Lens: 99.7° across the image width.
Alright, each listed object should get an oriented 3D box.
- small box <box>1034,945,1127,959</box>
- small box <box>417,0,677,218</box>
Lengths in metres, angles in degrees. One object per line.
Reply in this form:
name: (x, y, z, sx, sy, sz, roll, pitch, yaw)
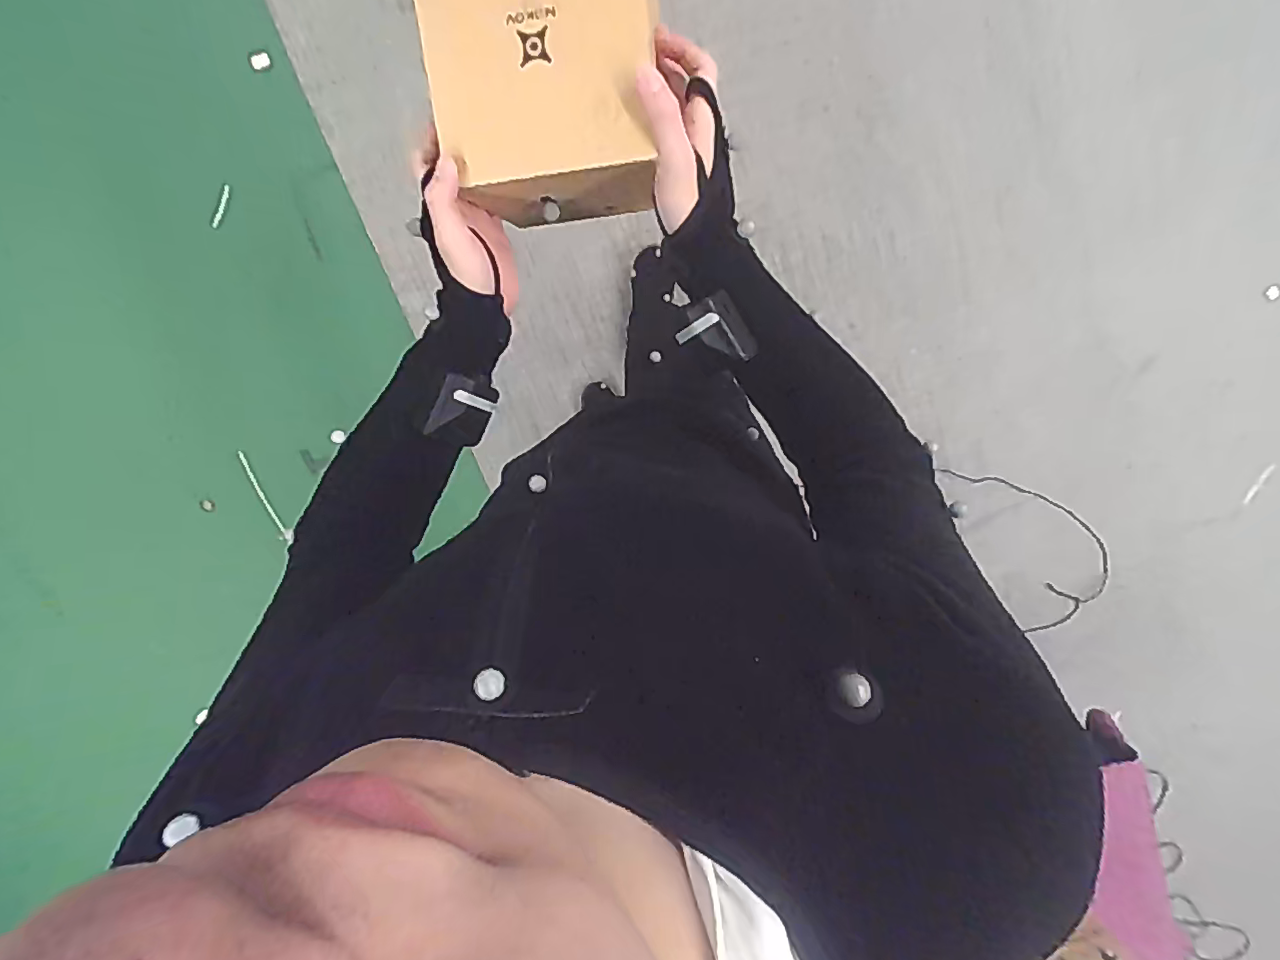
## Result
small box: (0.757, 0.897, 0.868, 0.168, 0.176, 0.179, -21, 105, 4)
small box: (-0.061, -0.327, 0.445, 0.168, 0.176, 0.179, -4, 104, 8)
